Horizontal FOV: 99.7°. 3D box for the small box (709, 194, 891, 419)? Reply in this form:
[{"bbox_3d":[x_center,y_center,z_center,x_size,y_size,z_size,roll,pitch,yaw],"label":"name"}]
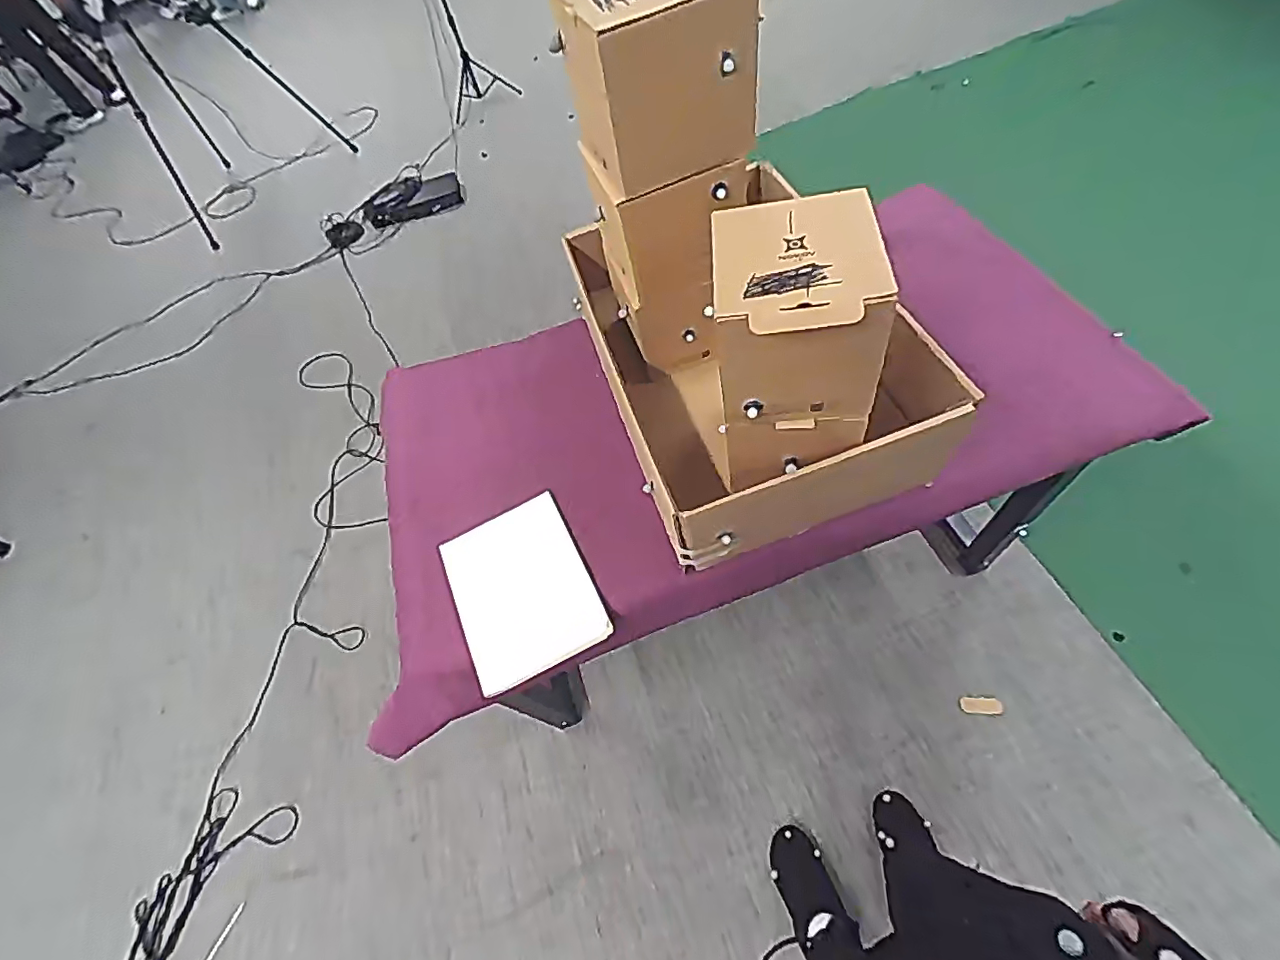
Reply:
[{"bbox_3d":[0.169,-0.182,0.609,0.168,0.176,0.179,-4,56,12],"label":"small box"}]

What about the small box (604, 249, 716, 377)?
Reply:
[{"bbox_3d":[0.056,-0.295,0.903,0.168,0.176,0.179,-20,59,-1],"label":"small box"}]

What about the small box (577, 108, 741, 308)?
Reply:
[{"bbox_3d":[0.034,-0.376,0.765,0.179,0.176,0.168,-22,58,-3],"label":"small box"}]
